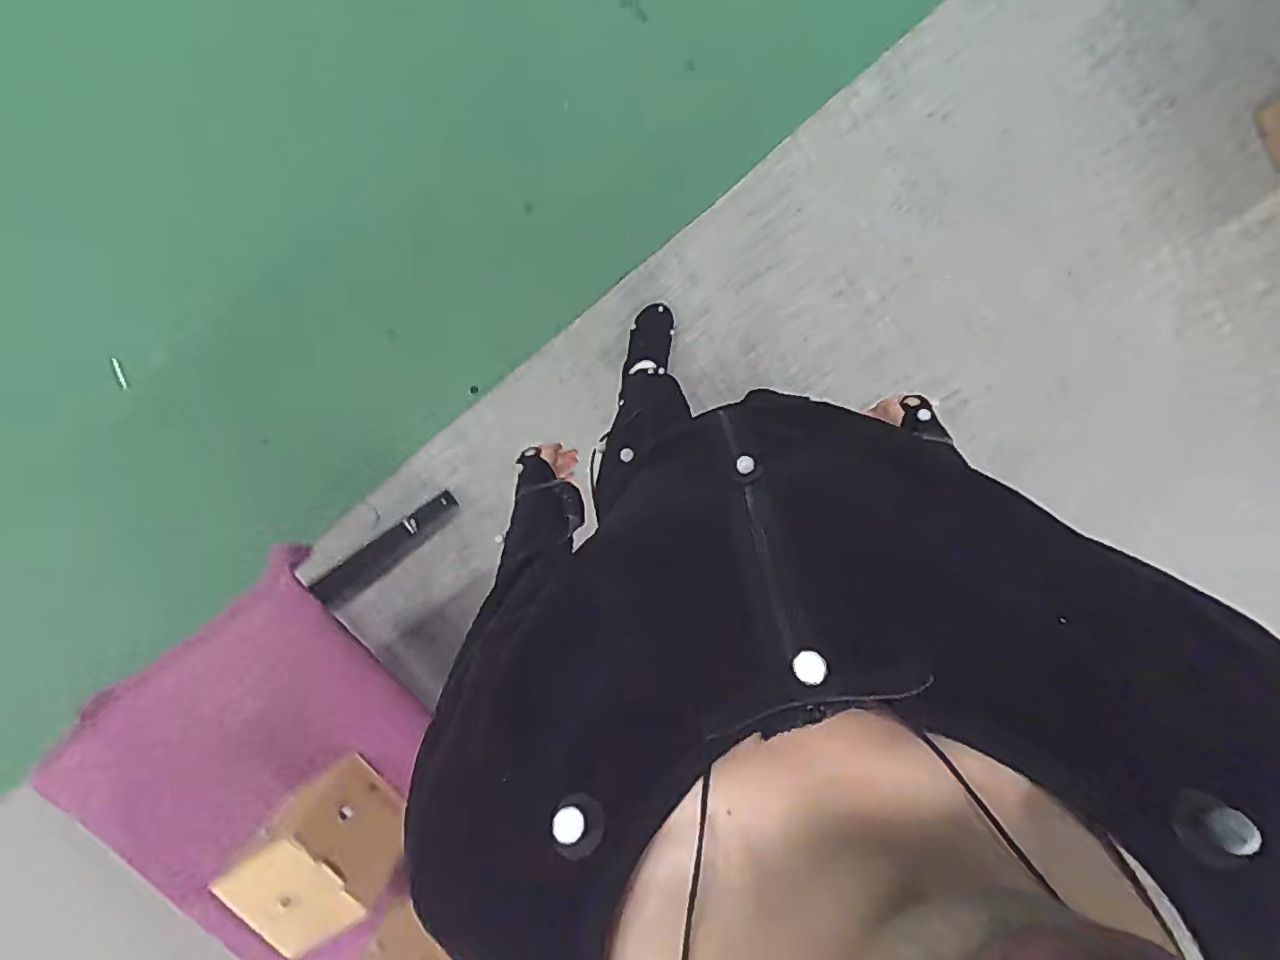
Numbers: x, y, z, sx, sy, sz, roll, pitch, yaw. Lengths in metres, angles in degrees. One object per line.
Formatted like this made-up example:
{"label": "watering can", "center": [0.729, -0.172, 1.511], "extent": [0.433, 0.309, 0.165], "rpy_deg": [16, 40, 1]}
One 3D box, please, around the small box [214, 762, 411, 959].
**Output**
{"label": "small box", "center": [-0.492, 0.588, 0.848], "extent": [0.179, 0.176, 0.168], "rpy_deg": [-35, 99, 12]}
